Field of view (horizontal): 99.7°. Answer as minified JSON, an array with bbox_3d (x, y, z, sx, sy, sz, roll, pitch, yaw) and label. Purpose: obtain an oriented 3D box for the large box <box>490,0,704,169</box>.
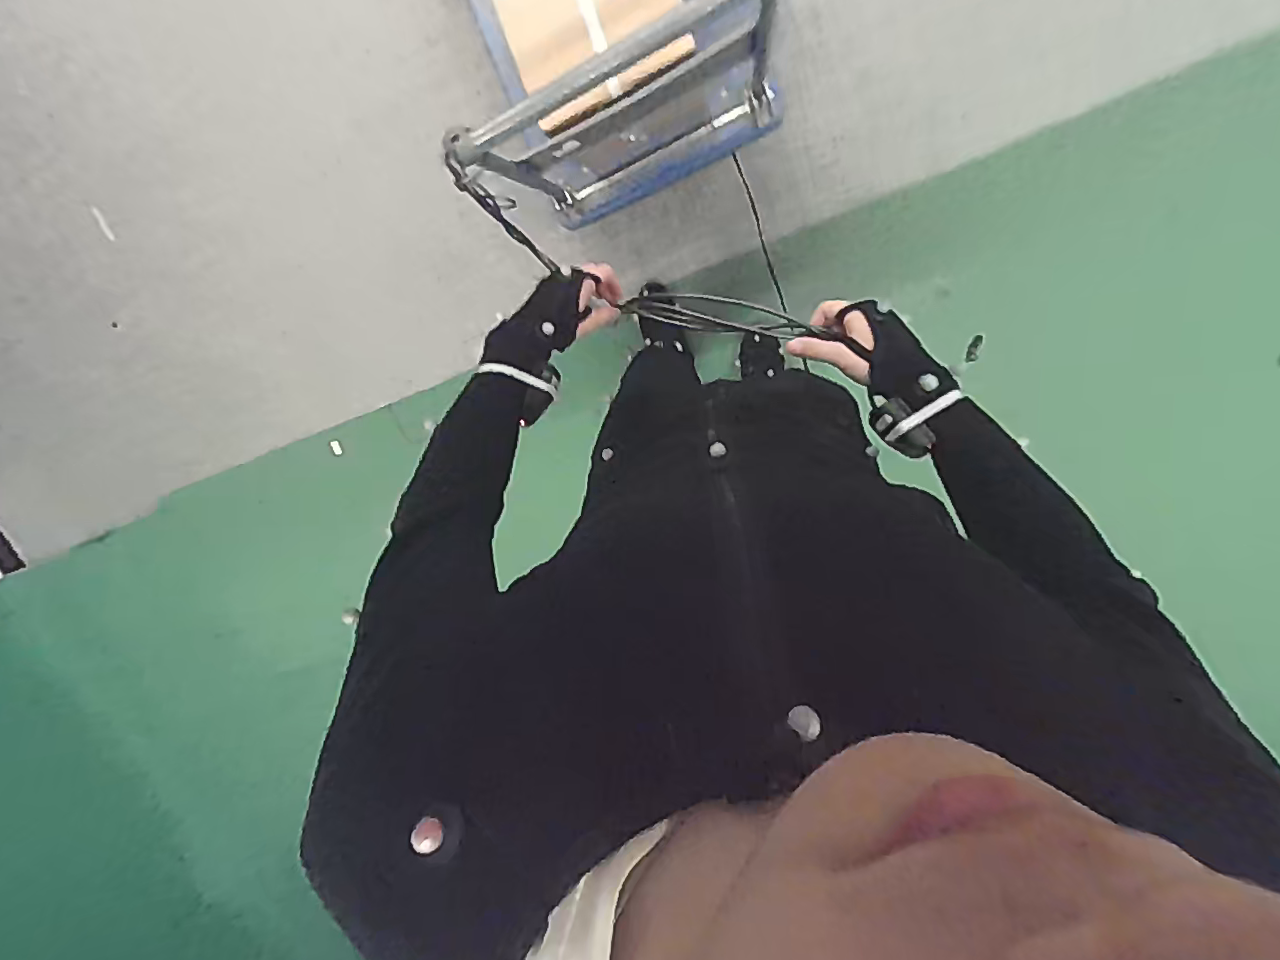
[{"bbox_3d":[-0.091,-0.929,1.087,0.320,0.320,0.408,-18,103,16],"label":"large box"}]
